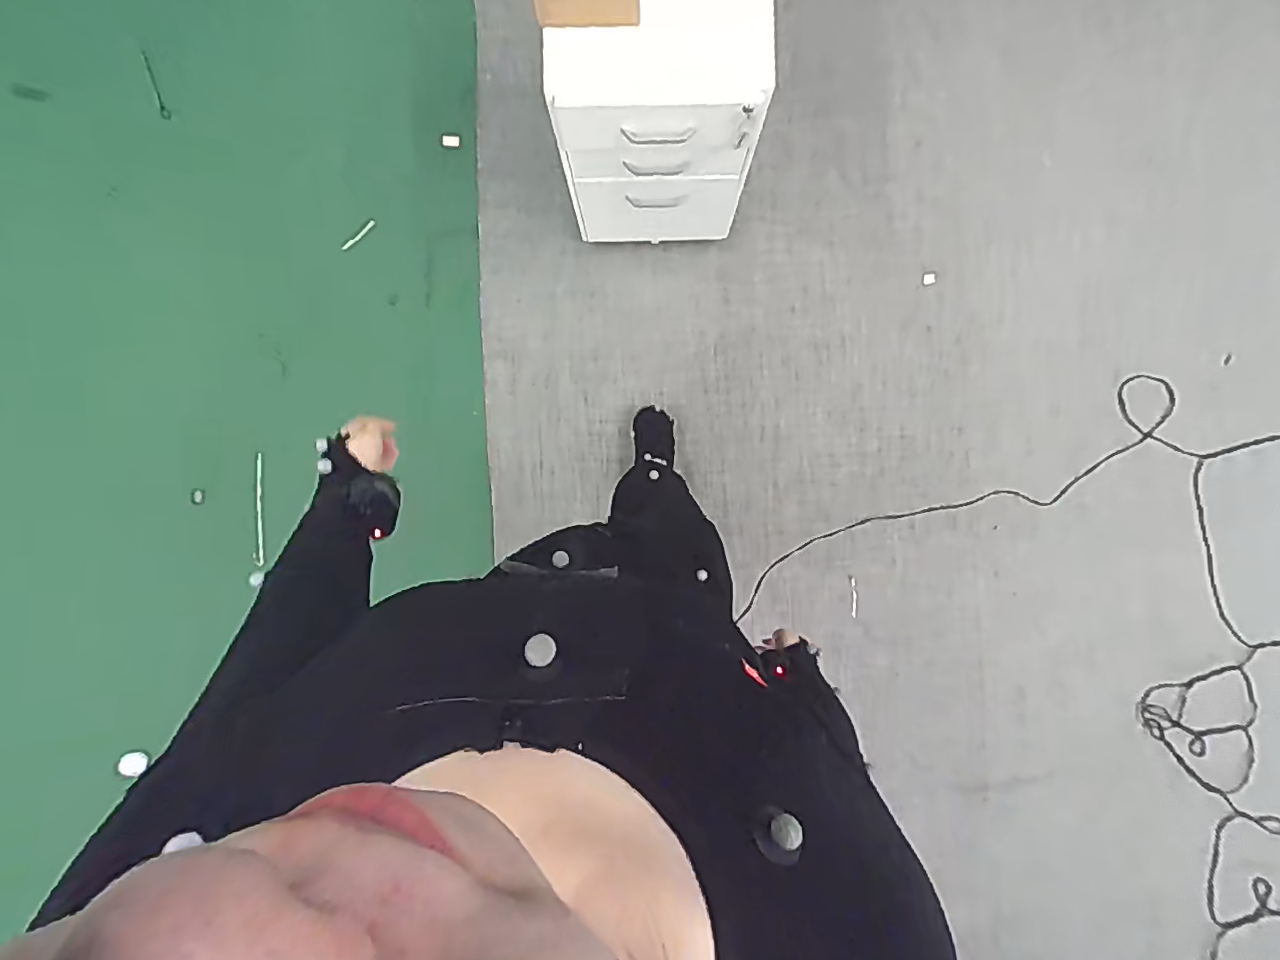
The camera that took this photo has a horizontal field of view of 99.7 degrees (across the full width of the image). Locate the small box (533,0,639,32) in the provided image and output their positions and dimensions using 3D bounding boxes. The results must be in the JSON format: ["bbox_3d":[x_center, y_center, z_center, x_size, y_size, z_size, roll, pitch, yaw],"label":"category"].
[{"bbox_3d":[-0.090,-0.852,0.851,0.179,0.176,0.168,-1,88,0],"label":"small box"}]
